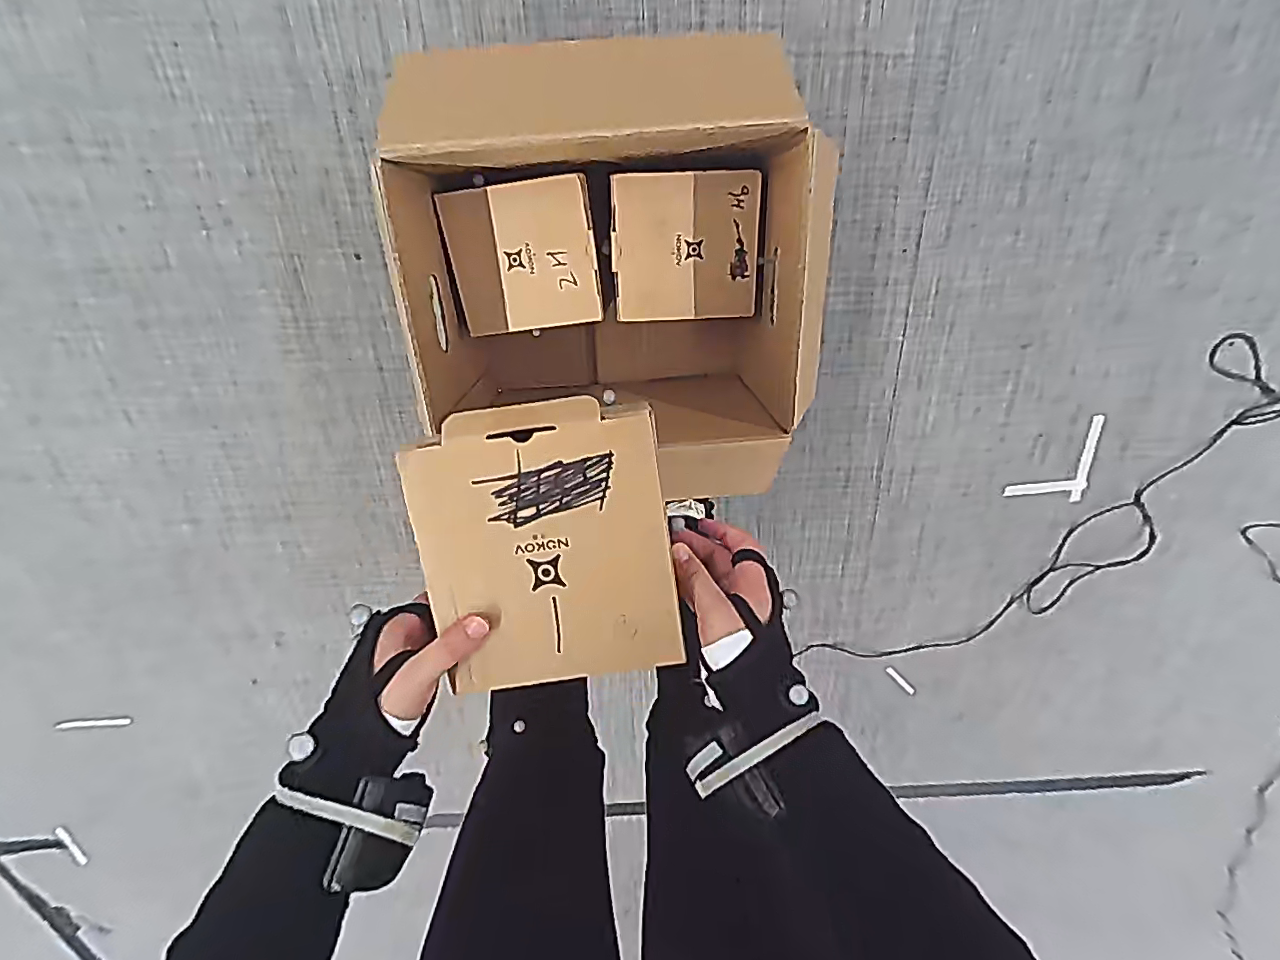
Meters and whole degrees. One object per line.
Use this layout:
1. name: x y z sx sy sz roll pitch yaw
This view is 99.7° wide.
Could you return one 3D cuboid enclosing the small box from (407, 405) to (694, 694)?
1. small box: -0.056 0.036 0.428 0.168 0.176 0.179 -8 101 1
